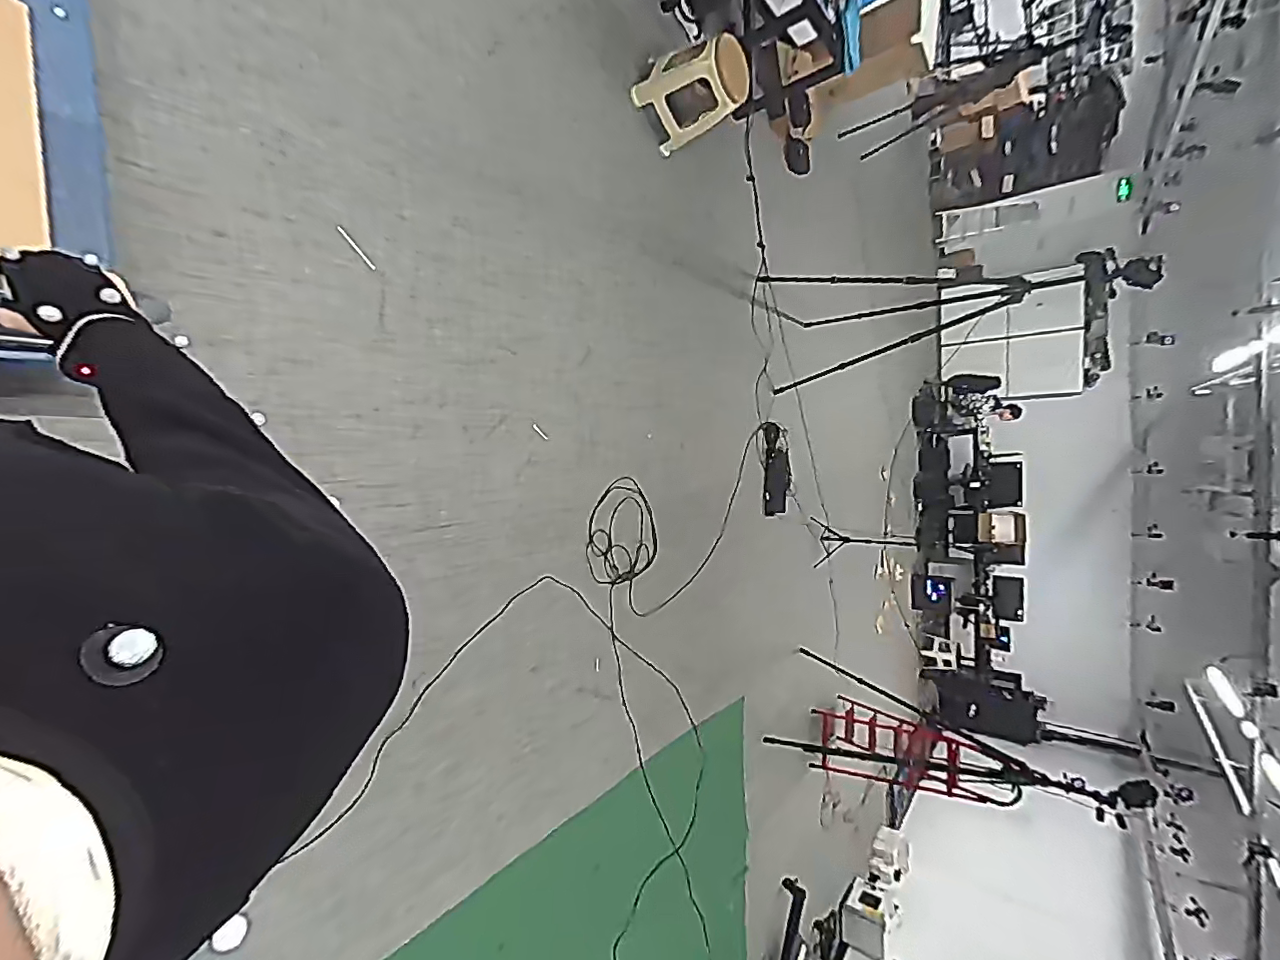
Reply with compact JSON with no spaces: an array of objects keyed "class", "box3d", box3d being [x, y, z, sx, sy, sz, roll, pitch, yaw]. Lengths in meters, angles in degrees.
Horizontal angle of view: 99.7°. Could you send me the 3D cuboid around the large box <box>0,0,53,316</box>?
[{"class":"large box","box3d":[-1.118,-0.488,0.786,0.320,0.320,0.408,-7,94,-52]}]
